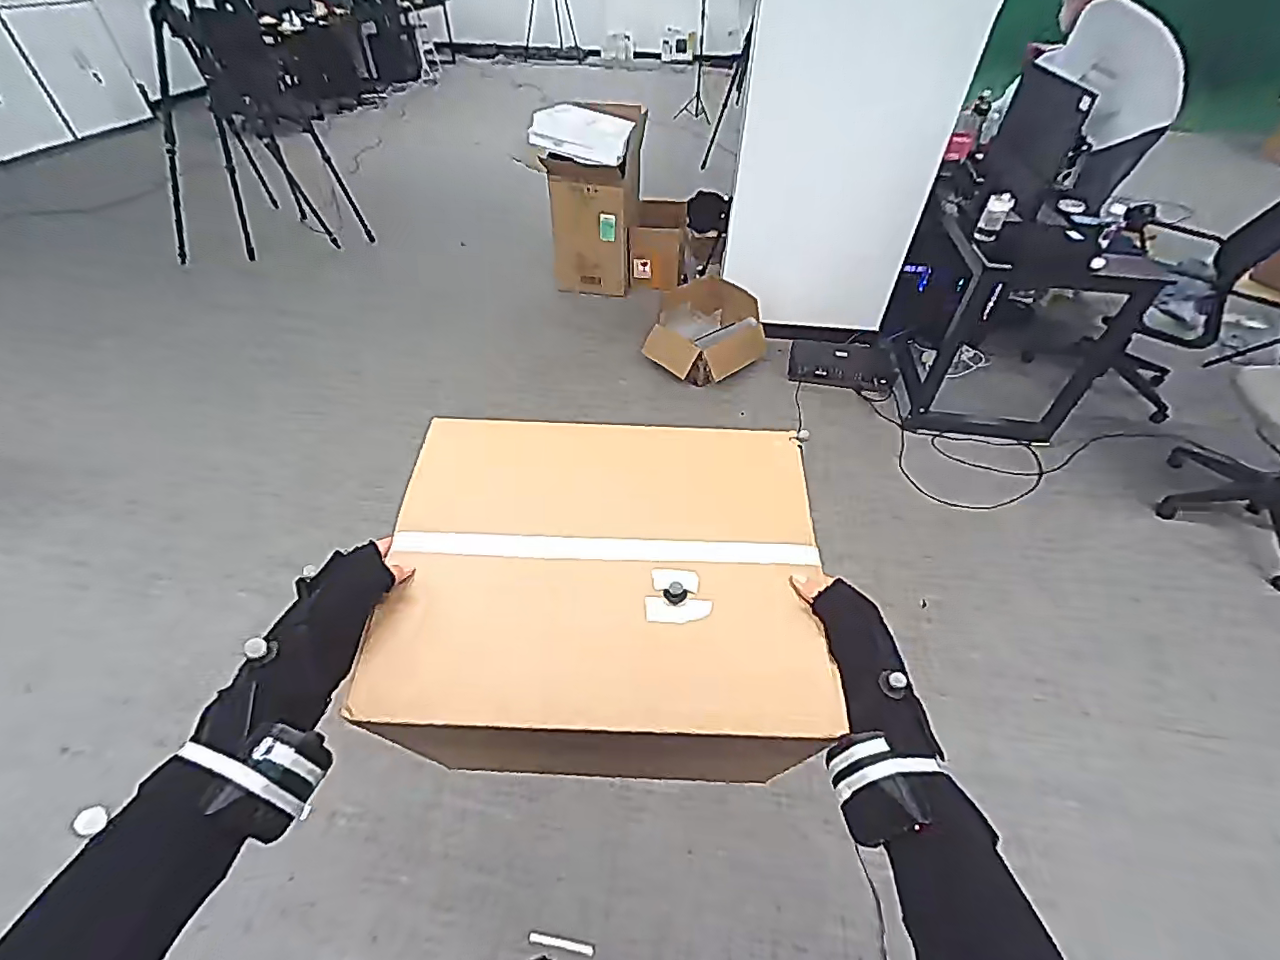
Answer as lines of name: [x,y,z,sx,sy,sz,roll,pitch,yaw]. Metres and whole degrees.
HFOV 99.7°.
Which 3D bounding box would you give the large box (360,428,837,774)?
large box: [-0.035,0.157,0.649,0.408,0.320,0.320,3,55,0]
